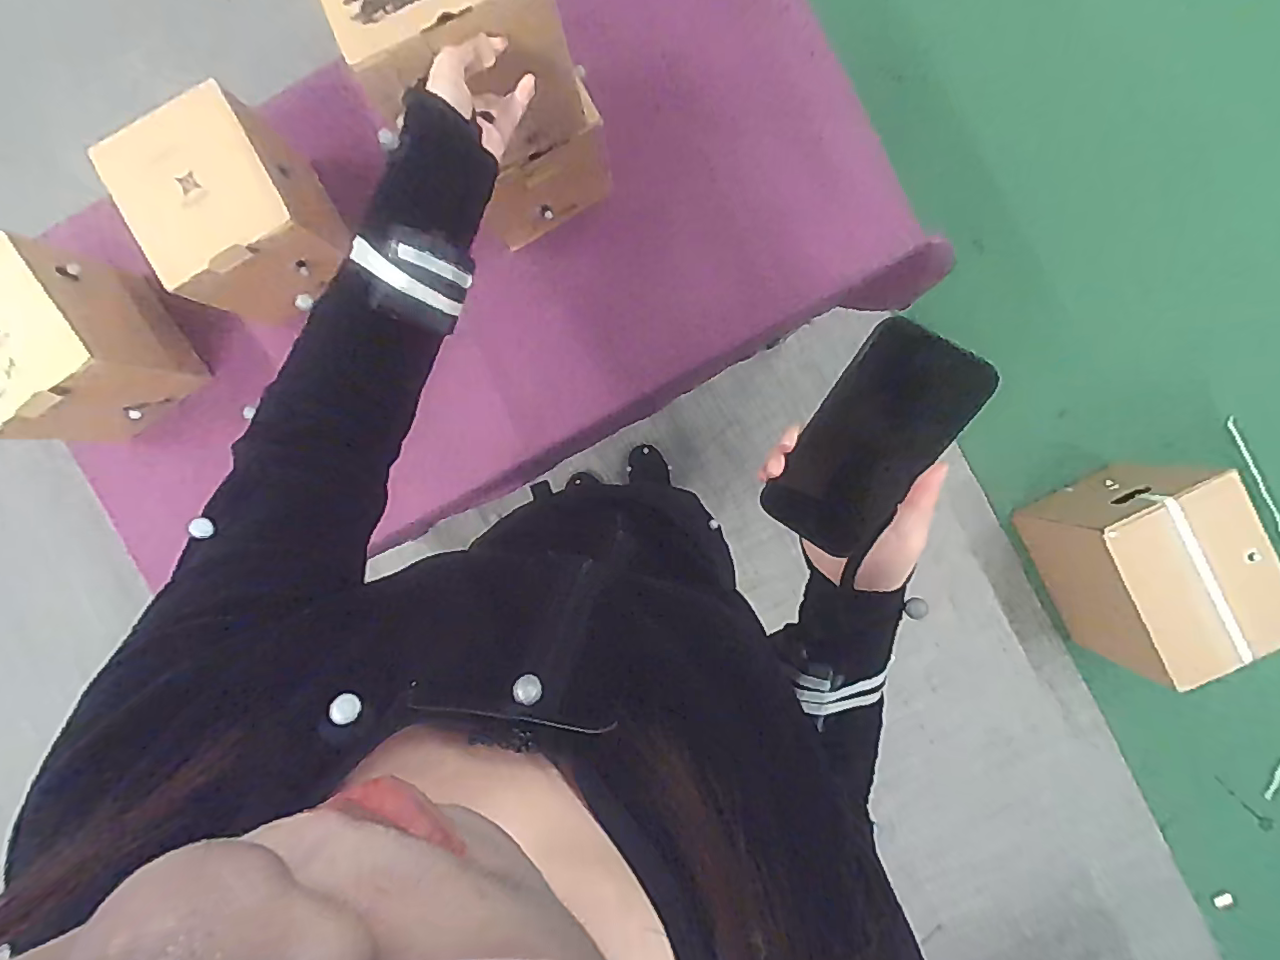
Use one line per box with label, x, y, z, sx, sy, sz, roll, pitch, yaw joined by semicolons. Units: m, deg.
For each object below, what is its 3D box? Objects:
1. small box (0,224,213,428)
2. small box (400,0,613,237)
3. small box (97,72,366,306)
small box;-0.717;-0.179;0.690;0.168;0.176;0.179;-33;93;4
small box;-0.146;-0.435;0.655;0.168;0.176;0.179;-29;93;4
small box;-0.484;-0.336;0.673;0.168;0.176;0.179;-27;93;2
